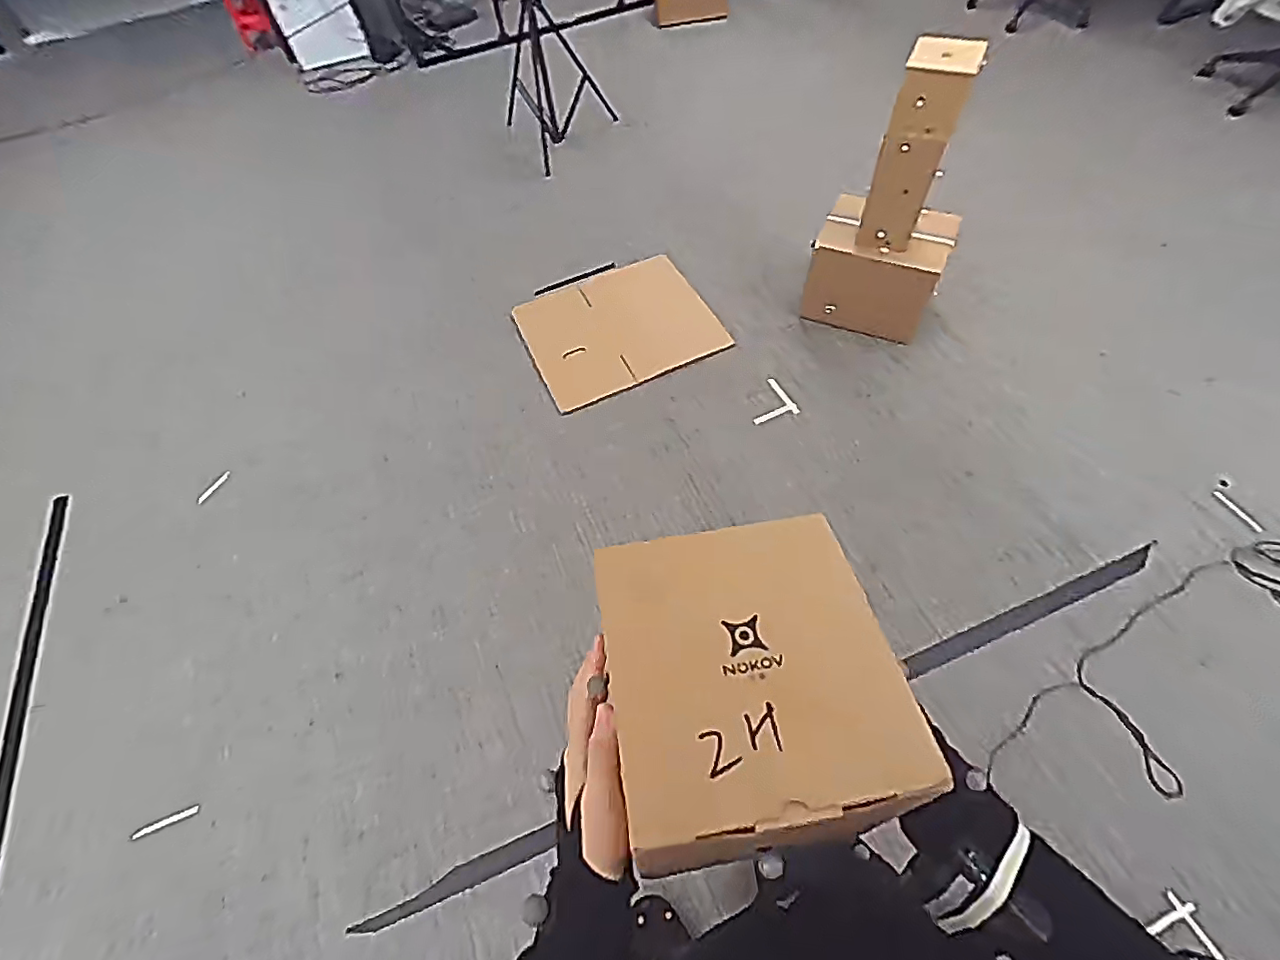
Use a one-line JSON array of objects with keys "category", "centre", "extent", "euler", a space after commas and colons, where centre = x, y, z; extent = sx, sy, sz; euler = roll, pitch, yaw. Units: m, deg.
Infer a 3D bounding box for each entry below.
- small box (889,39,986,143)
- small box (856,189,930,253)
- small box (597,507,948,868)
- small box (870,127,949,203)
[{"category": "small box", "centre": [0.778, -1.025, 1.429], "extent": [0.168, 0.176, 0.179], "euler": [20, 63, 17]}, {"category": "small box", "centre": [0.802, -0.856, 1.708], "extent": [0.168, 0.176, 0.179], "euler": [21, 64, 17]}, {"category": "small box", "centre": [0.065, 0.146, 0.381], "extent": [0.168, 0.176, 0.179], "euler": [-9, 50, -5]}, {"category": "small box", "centre": [0.789, -0.944, 1.570], "extent": [0.168, 0.176, 0.179], "euler": [21, 62, 18]}]
